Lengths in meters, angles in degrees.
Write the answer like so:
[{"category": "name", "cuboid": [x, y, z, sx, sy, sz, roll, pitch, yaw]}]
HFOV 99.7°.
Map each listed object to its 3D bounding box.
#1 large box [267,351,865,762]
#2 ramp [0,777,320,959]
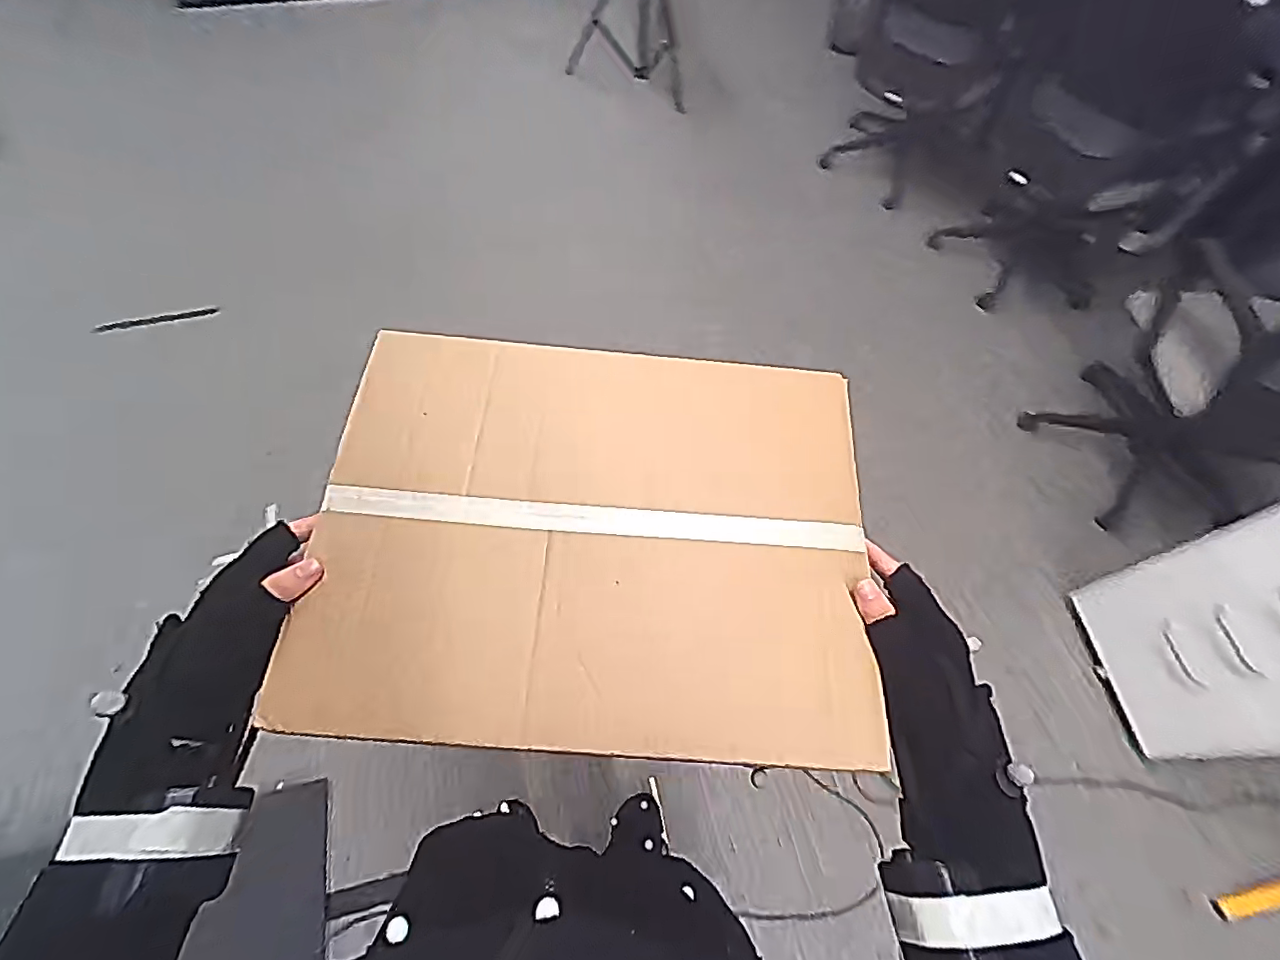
[{"category": "large box", "cuboid": [-0.047, 0.098, 0.552, 0.408, 0.320, 0.320, 4, 65, -3]}, {"category": "ramp", "cuboid": [-1.147, 0.929, 0.976, 0.991, 0.206, 0.509, -12, 61, -10]}]
